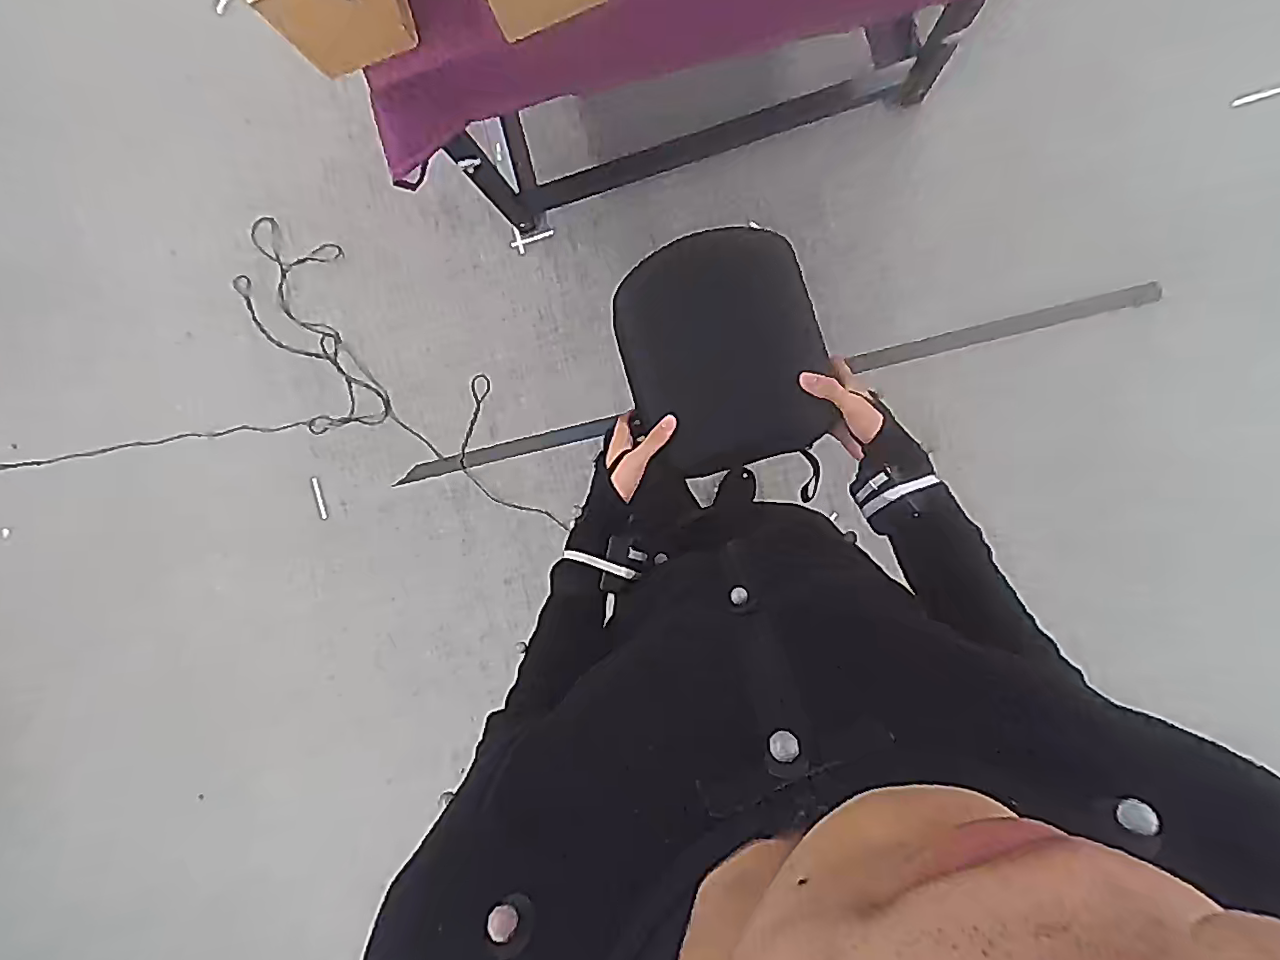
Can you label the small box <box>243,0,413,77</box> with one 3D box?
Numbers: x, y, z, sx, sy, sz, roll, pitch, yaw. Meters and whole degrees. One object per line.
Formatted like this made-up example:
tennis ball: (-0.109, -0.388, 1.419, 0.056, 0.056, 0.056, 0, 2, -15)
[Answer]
small box: (-0.486, -0.771, 0.828, 0.179, 0.176, 0.168, -15, 92, 7)
